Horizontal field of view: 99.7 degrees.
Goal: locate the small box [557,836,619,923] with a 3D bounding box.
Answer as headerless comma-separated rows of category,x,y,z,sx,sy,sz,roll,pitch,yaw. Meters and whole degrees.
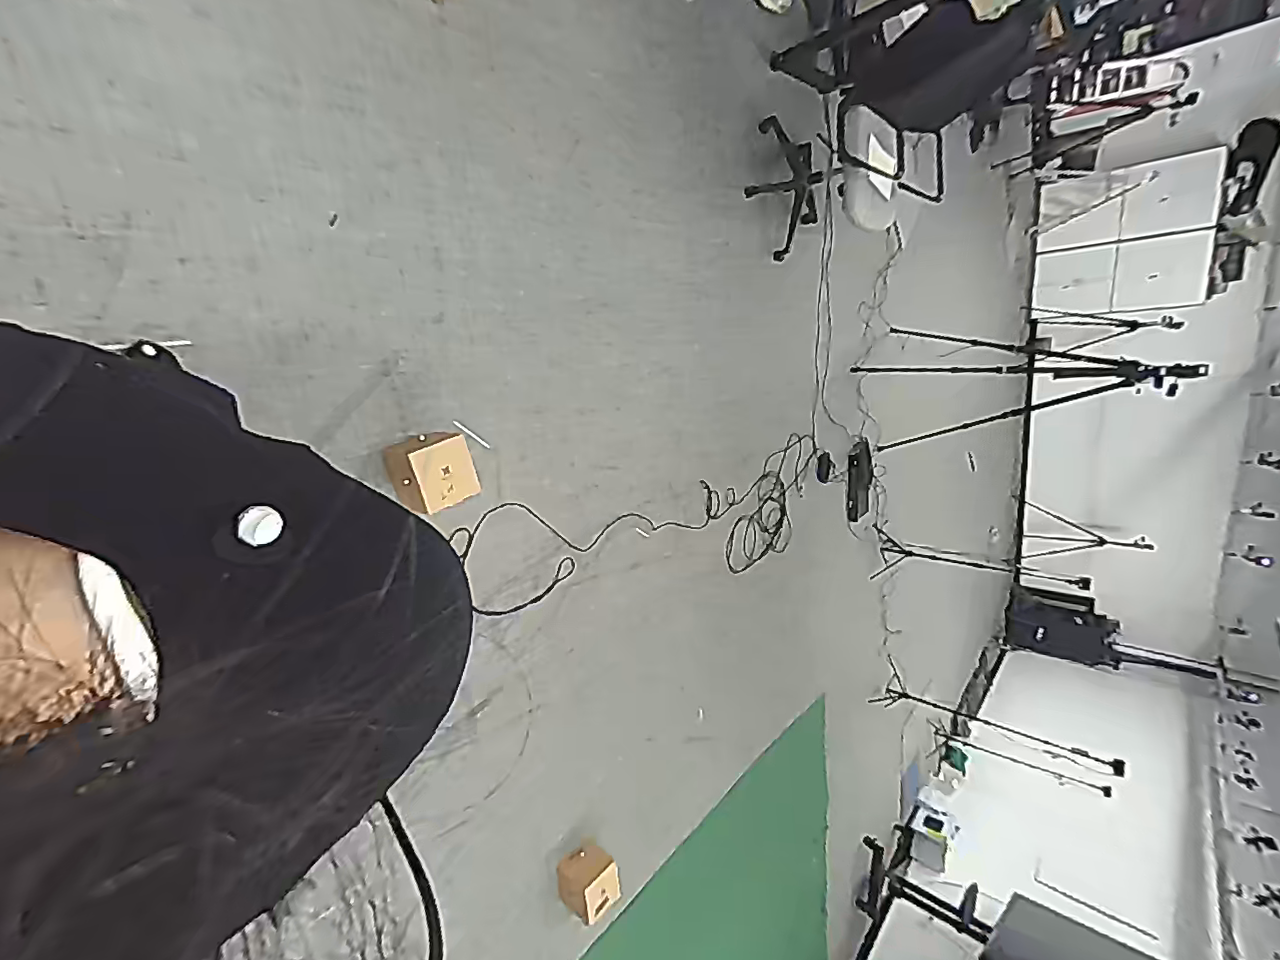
small box,-0.205,1.553,2.115,0.168,0.176,0.179,-17,107,-44

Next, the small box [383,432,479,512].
small box,-0.580,-0.029,1.497,0.168,0.176,0.179,-30,117,-41
